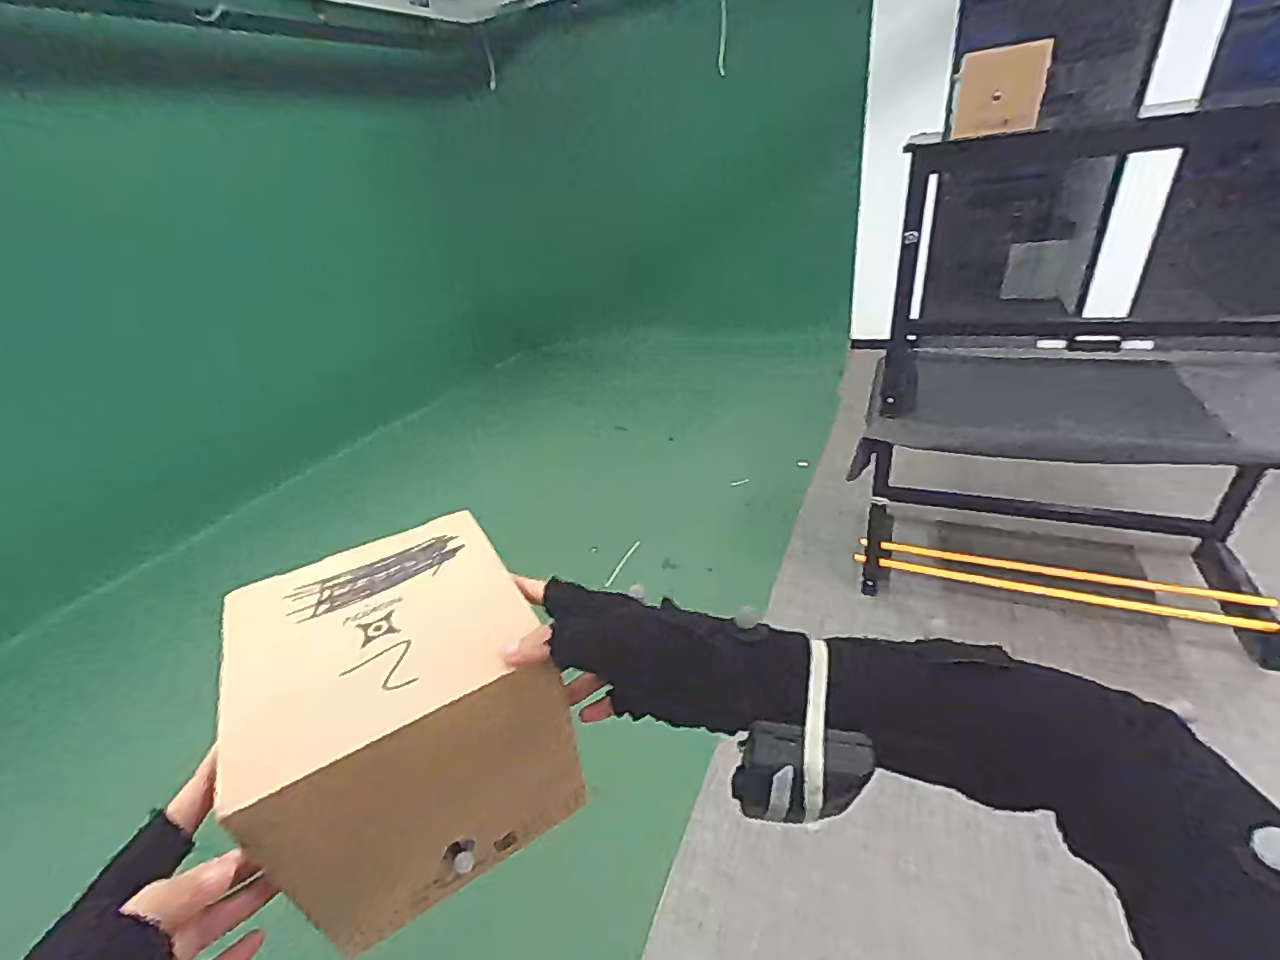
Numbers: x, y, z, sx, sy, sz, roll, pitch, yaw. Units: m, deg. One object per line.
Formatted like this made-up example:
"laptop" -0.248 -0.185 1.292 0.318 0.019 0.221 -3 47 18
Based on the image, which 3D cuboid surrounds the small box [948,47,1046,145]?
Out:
"small box" 0.854 -0.919 1.308 0.168 0.176 0.179 8 34 24
